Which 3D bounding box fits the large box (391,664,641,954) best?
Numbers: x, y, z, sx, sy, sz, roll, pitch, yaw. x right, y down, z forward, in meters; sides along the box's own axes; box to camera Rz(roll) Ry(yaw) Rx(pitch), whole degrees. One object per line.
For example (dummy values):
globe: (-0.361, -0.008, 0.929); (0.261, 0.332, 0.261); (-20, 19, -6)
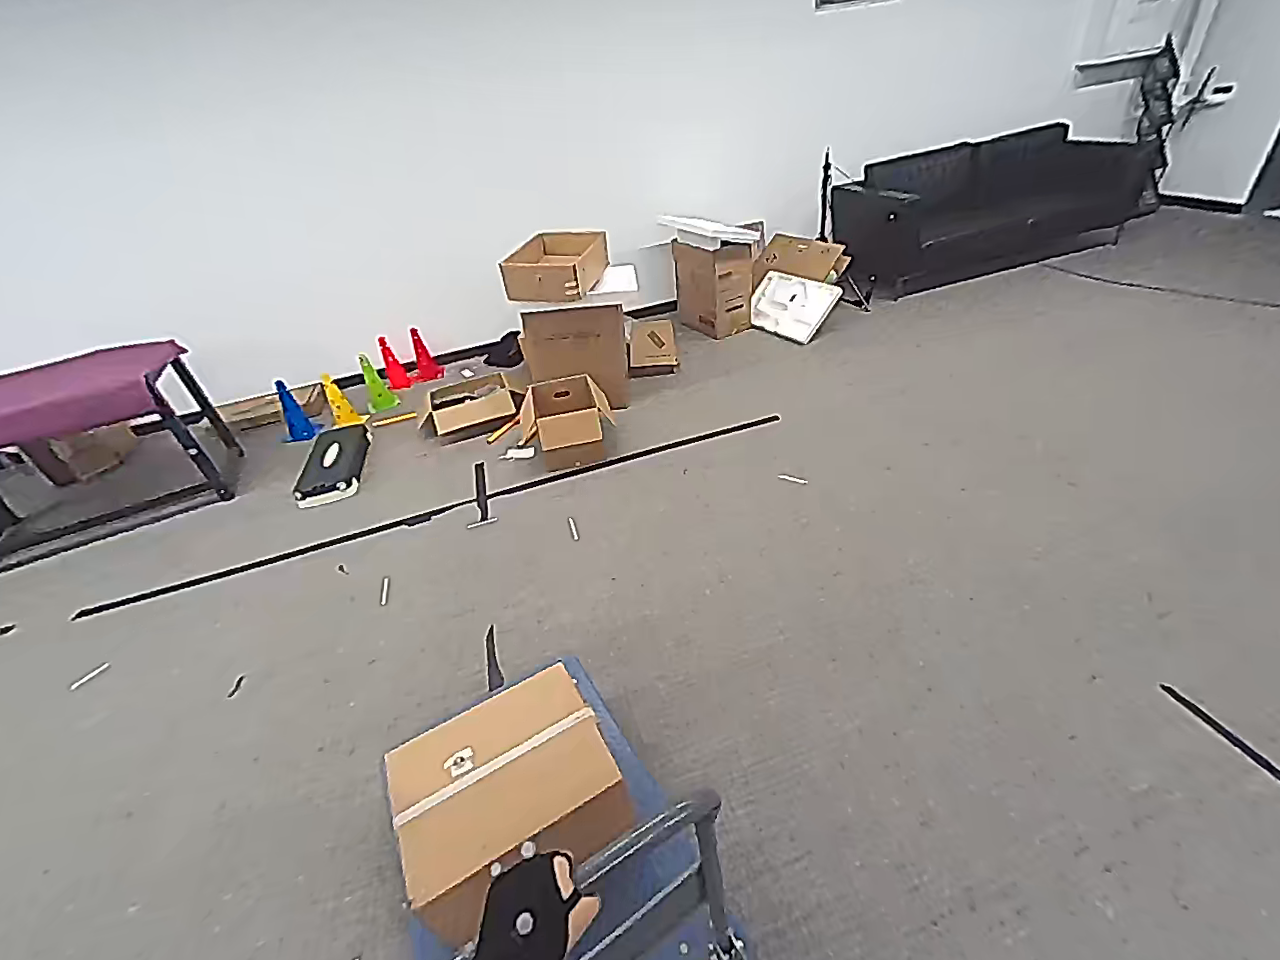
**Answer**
large box: (-0.256, 0.692, 1.171); (0.408, 0.320, 0.320); (-24, 38, -19)
